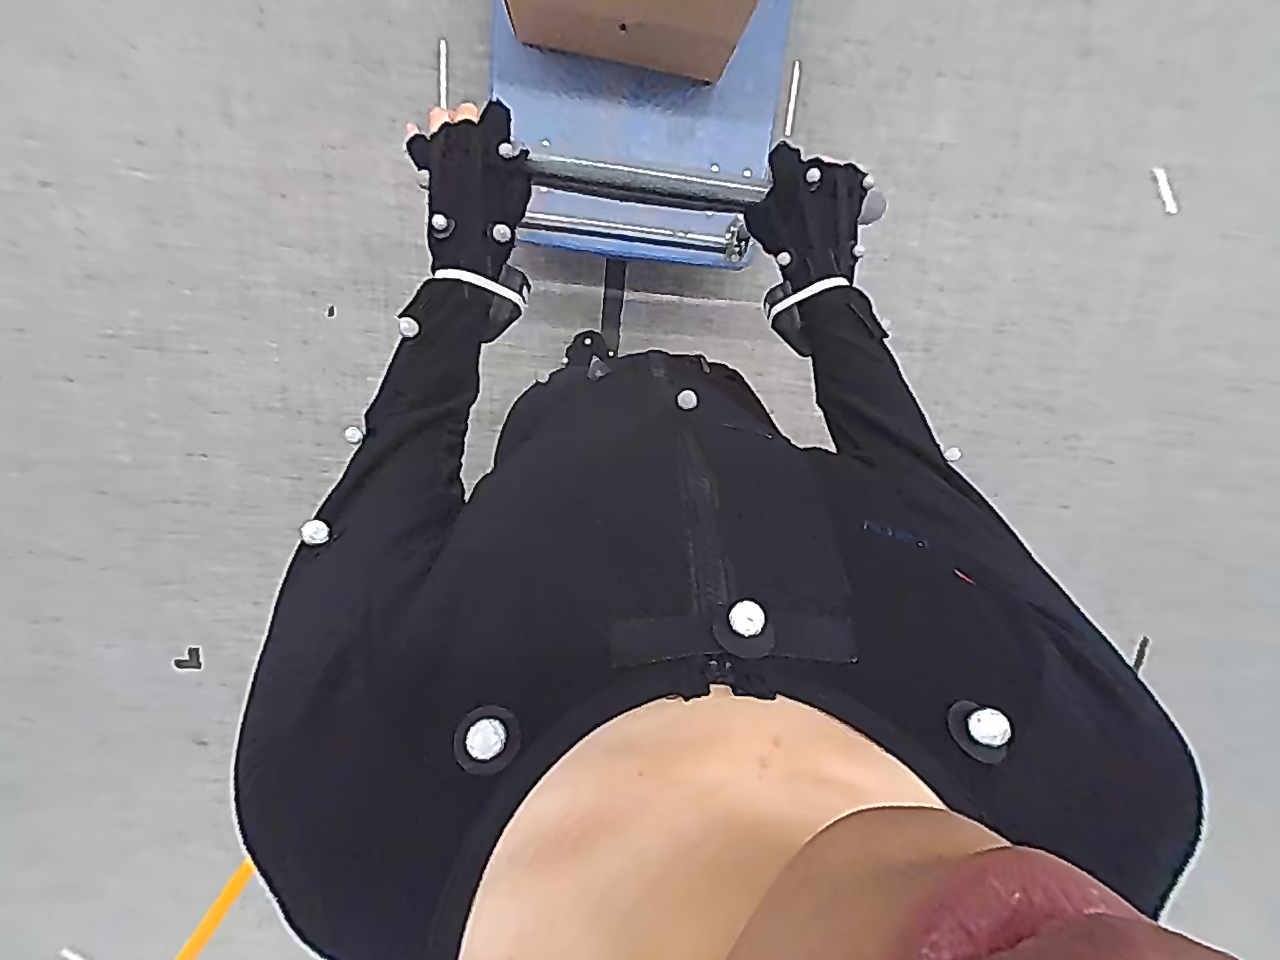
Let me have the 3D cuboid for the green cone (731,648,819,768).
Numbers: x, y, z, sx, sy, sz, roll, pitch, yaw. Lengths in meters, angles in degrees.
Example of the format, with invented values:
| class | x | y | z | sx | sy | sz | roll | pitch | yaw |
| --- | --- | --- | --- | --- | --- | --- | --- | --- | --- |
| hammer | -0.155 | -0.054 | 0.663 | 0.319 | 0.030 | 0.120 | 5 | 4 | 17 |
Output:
| class | x | y | z | sx | sy | sz | roll | pitch | yaw |
| --- | --- | --- | --- | --- | --- | --- | --- | --- | --- |
| green cone | 0.414 | 0.671 | 1.541 | 0.202 | 0.368 | 0.200 | 7 | 105 | -7 |

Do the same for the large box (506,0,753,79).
| class | x | y | z | sx | sy | sz | roll | pitch | yaw |
| --- | --- | --- | --- | --- | --- | --- | --- | --- | --- |
| large box | -0.012 | -0.933 | 0.902 | 0.408 | 0.320 | 0.320 | 7 | 105 | -6 |
